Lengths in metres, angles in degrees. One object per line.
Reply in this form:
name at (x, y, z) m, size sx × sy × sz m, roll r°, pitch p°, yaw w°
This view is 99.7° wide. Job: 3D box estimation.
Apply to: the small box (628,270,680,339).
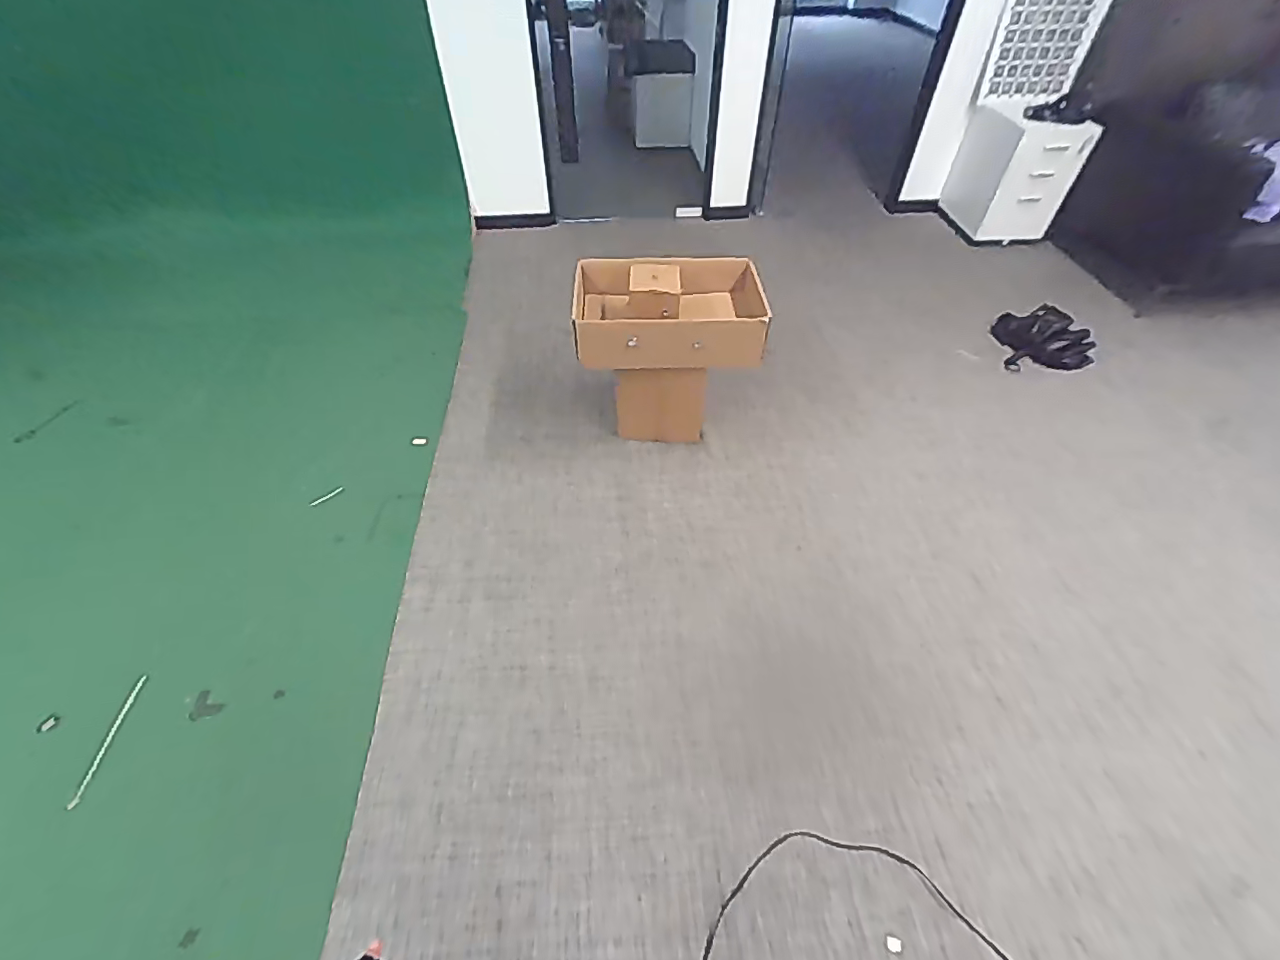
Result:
small box at (0.045, -0.593, 1.831) m, size 0.168 × 0.176 × 0.179 m, roll 2°, pitch 46°, yaw -2°
